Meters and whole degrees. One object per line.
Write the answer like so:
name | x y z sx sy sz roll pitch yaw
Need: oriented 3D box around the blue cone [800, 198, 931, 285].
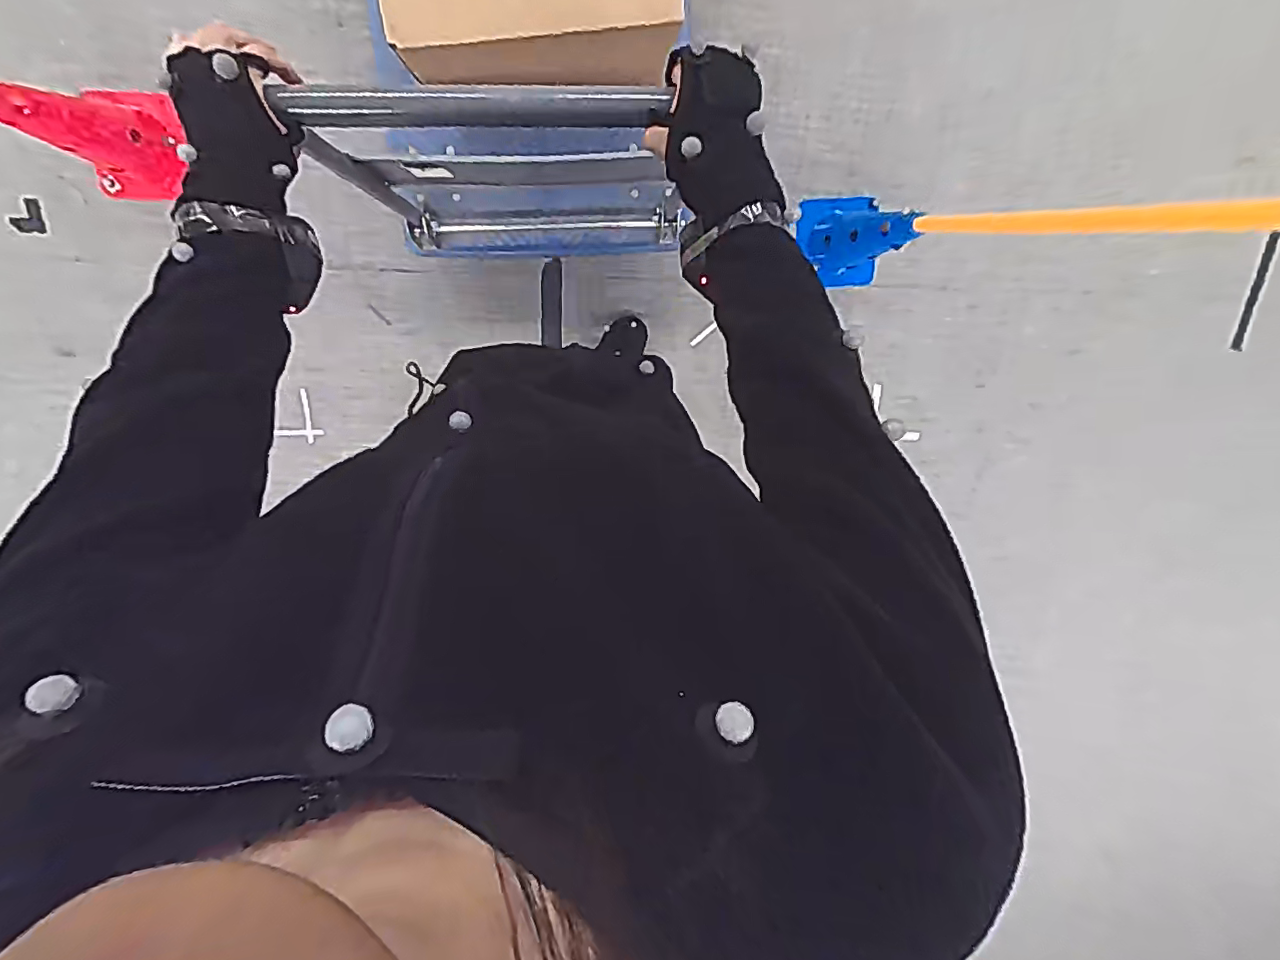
blue cone | 0.492 -0.524 1.145 0.193 0.380 0.192 -3 108 -4
